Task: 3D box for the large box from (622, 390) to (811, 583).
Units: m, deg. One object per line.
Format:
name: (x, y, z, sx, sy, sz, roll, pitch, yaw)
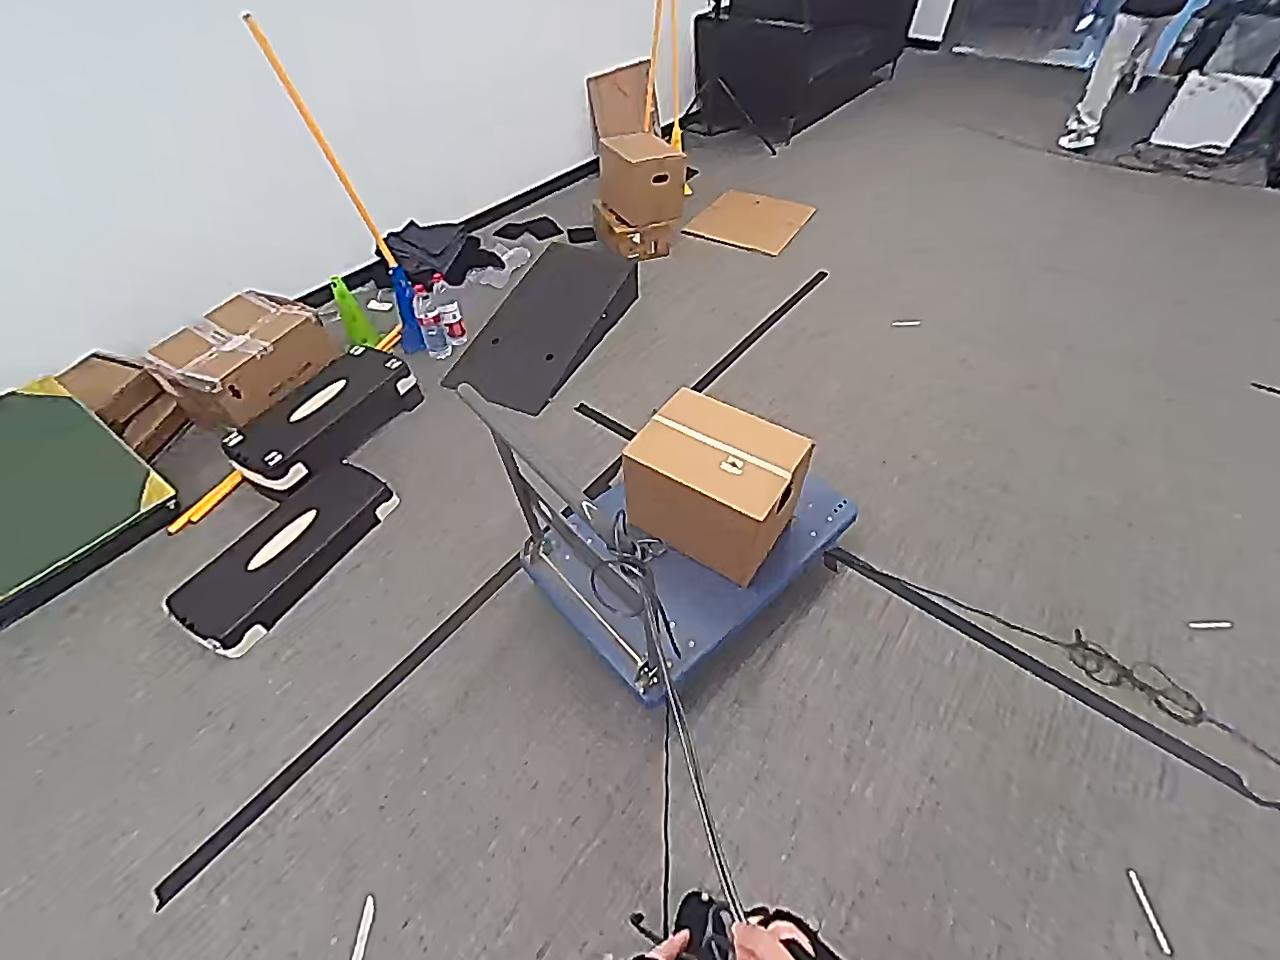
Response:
large box: (0.198, 0.014, 1.506, 0.408, 0.320, 0.320, 27, 56, 22)
